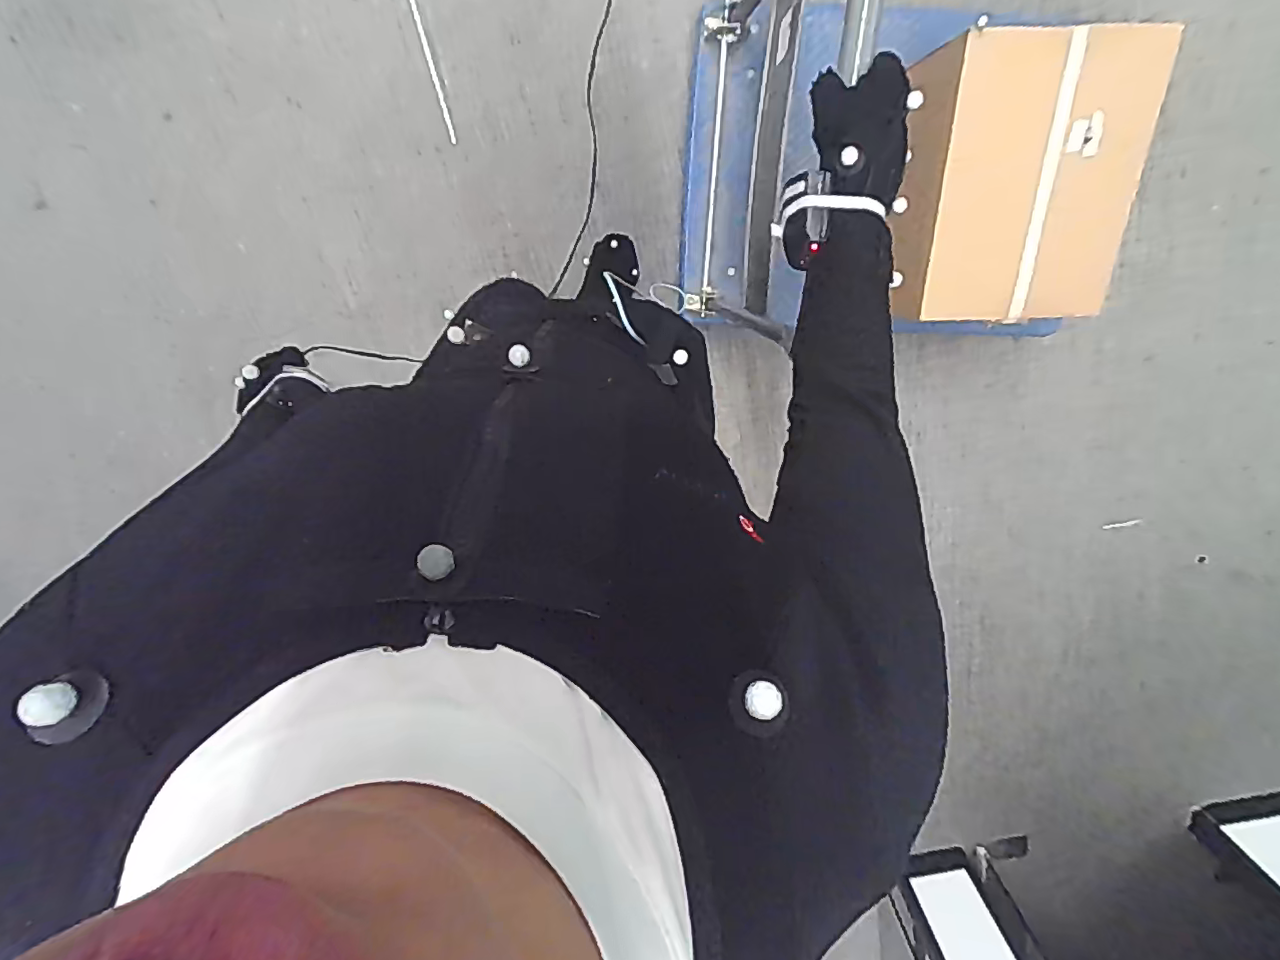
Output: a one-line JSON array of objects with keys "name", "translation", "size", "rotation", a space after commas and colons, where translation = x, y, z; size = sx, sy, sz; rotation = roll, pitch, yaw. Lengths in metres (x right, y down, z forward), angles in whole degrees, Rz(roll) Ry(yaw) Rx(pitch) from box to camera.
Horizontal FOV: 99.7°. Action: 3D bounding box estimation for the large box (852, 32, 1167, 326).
[{"name": "large box", "translation": [0.610, -0.506, 0.984], "size": [0.320, 0.320, 0.408], "rotation": [-2, 112, -2]}]
